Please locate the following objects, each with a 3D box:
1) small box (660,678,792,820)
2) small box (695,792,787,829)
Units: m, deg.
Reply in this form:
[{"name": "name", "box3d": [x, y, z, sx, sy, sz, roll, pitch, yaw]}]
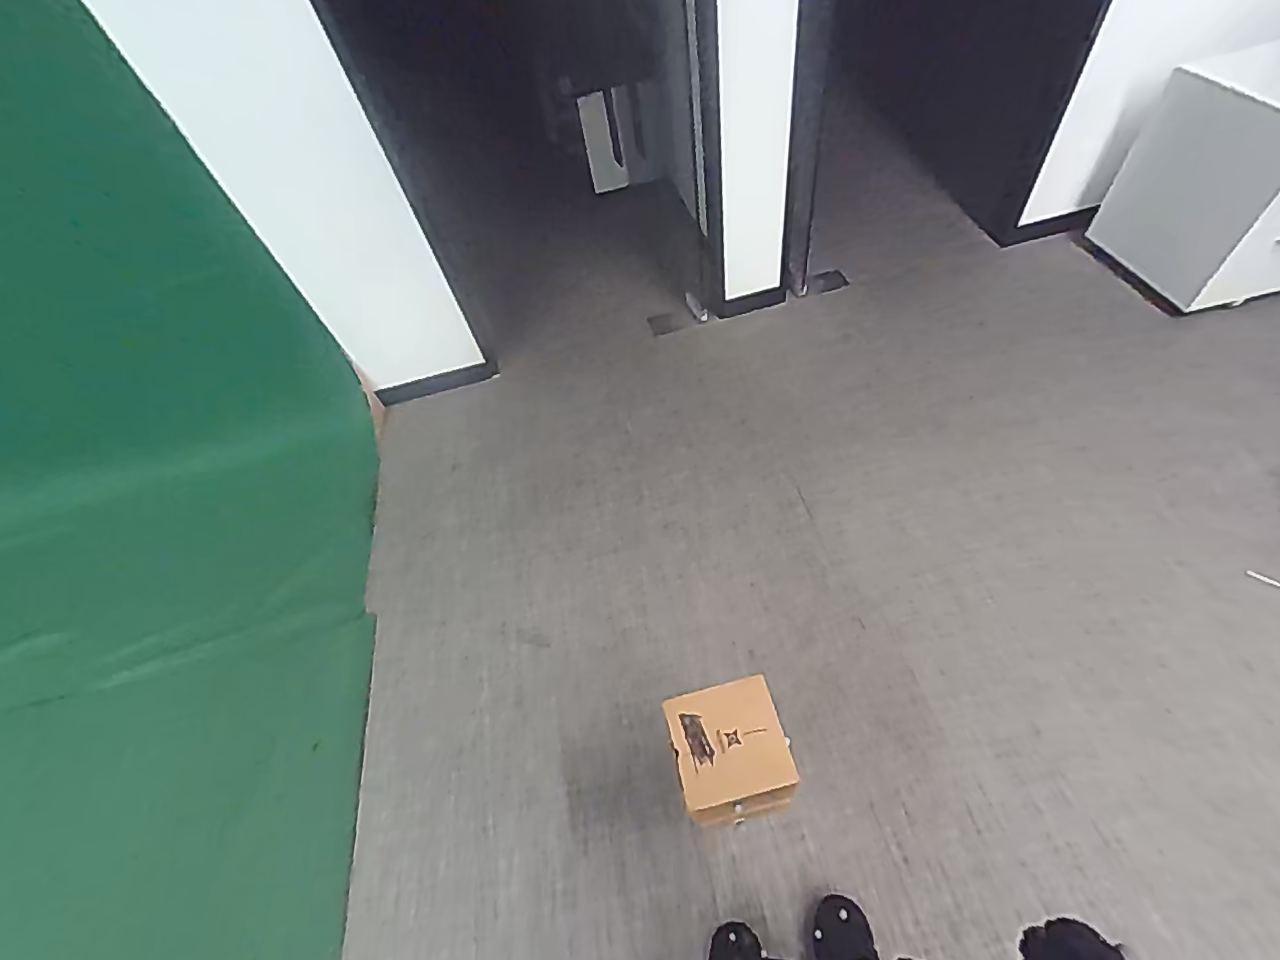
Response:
[{"name": "small box", "box3d": [0.145, 0.464, 0.924, 0.179, 0.176, 0.168, -15, 53, 0]}, {"name": "small box", "box3d": [0.169, 0.550, 1.041, 0.168, 0.176, 0.179, -16, 54, 0]}]
